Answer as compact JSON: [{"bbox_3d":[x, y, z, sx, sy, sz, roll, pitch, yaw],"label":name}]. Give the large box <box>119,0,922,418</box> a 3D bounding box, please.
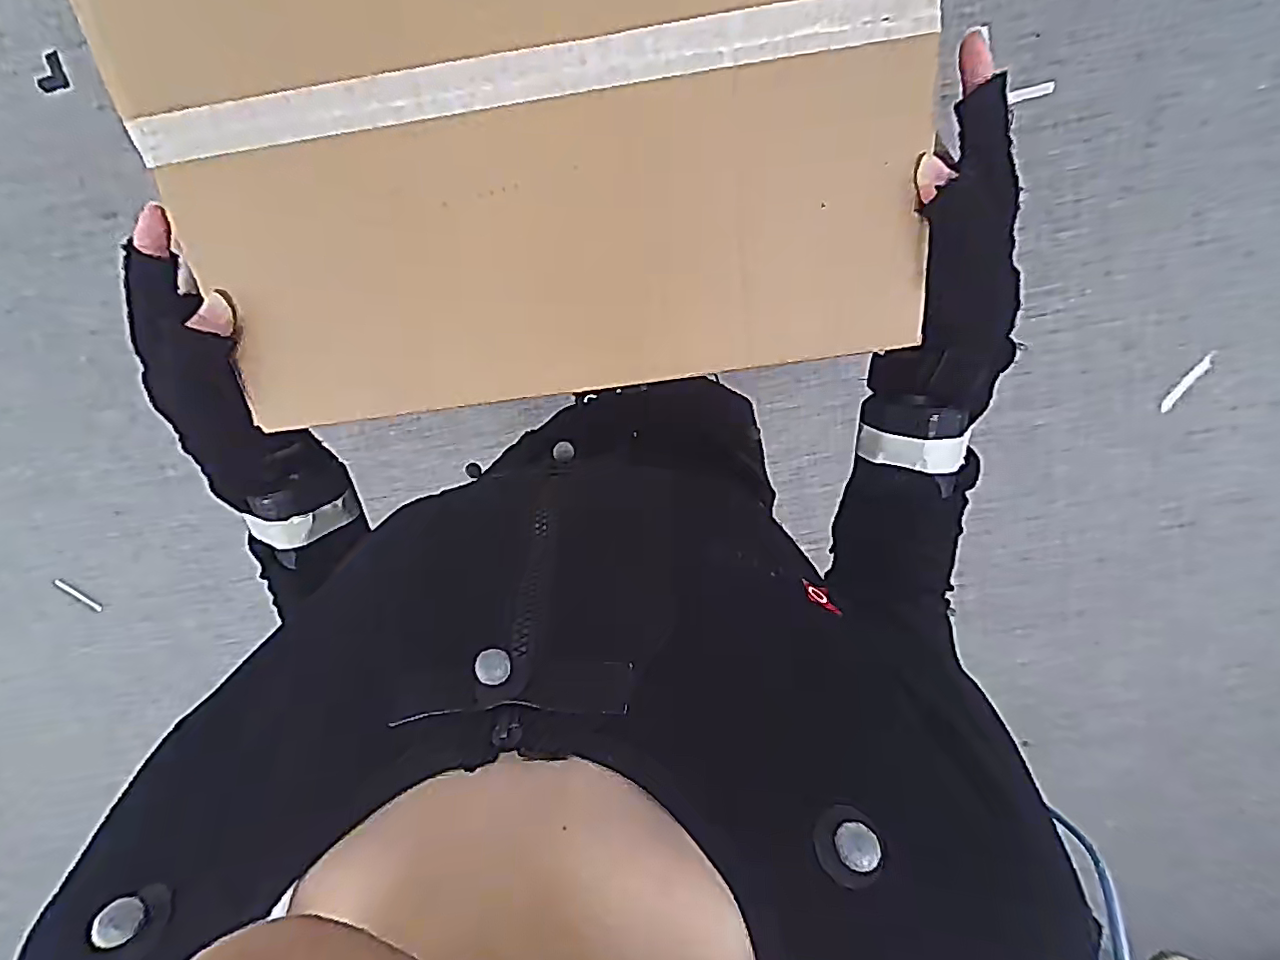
[{"bbox_3d":[-0.056,-0.260,0.419,0.408,0.320,0.320,-7,113,3],"label":"large box"}]
